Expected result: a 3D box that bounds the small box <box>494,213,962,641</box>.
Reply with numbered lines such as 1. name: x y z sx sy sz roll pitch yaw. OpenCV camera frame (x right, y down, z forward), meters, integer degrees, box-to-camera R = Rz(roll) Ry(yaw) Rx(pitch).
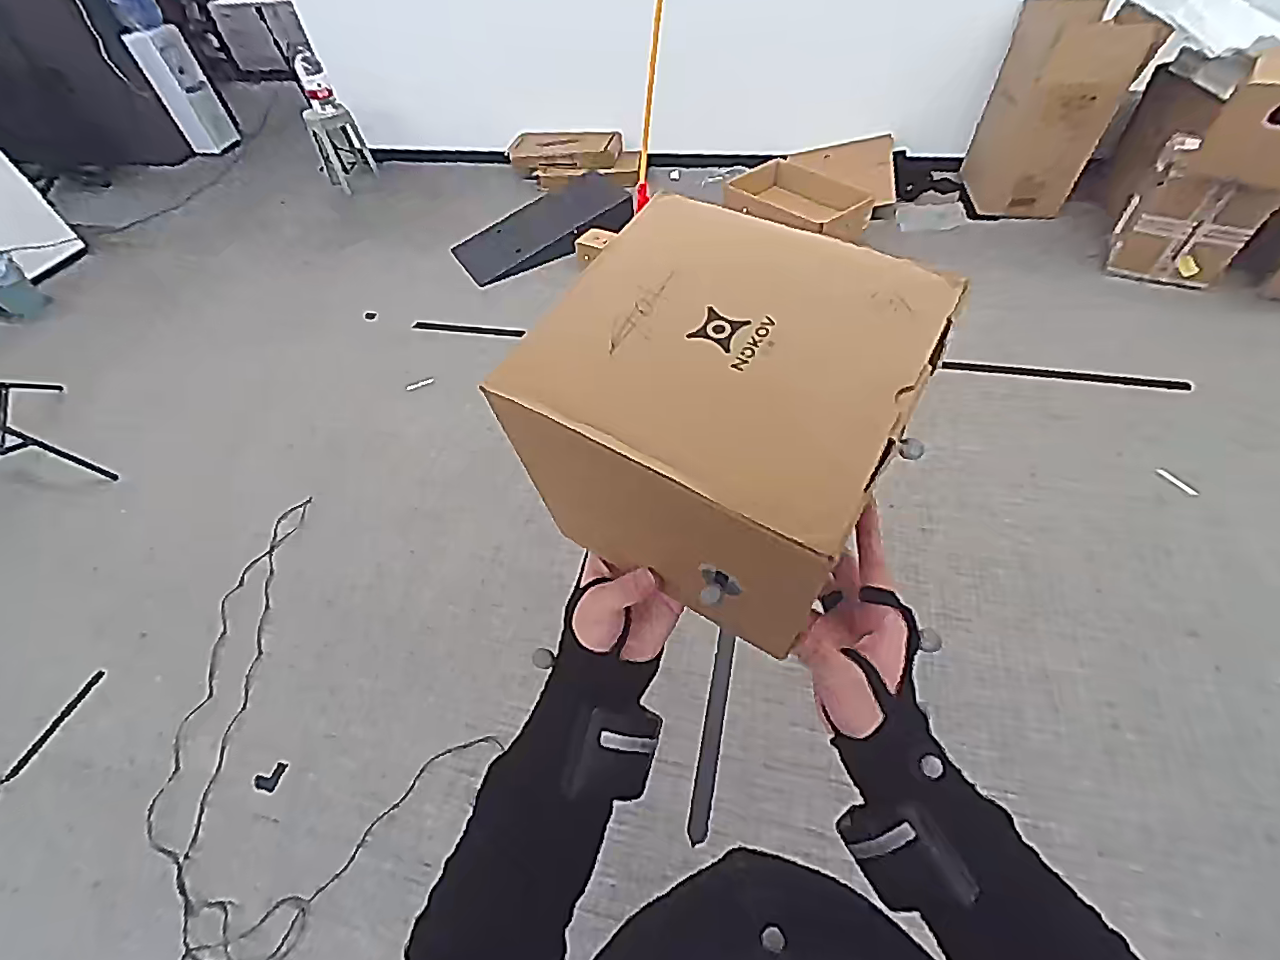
1. small box: 0.051 -0.022 0.331 0.179 0.176 0.168 26 65 21
